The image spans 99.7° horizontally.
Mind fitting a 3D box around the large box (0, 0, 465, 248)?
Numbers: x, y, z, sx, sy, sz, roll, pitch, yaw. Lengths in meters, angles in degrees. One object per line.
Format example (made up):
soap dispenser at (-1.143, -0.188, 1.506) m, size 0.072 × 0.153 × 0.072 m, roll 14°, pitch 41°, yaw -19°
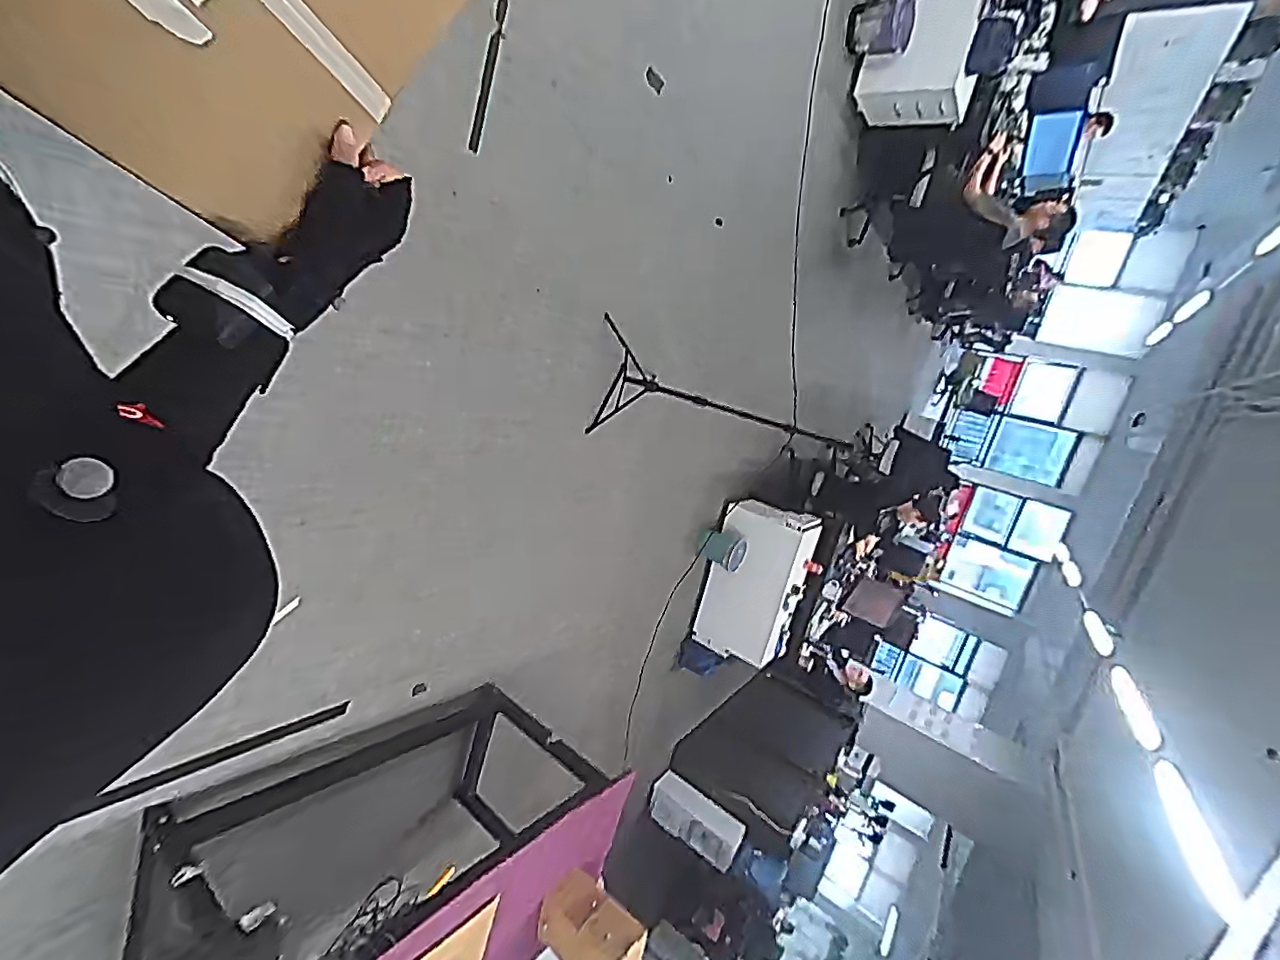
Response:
large box at (-0.404, -0.449, 0.365) m, size 0.320 × 0.320 × 0.408 m, roll -53°, pitch 150°, yaw 1°
